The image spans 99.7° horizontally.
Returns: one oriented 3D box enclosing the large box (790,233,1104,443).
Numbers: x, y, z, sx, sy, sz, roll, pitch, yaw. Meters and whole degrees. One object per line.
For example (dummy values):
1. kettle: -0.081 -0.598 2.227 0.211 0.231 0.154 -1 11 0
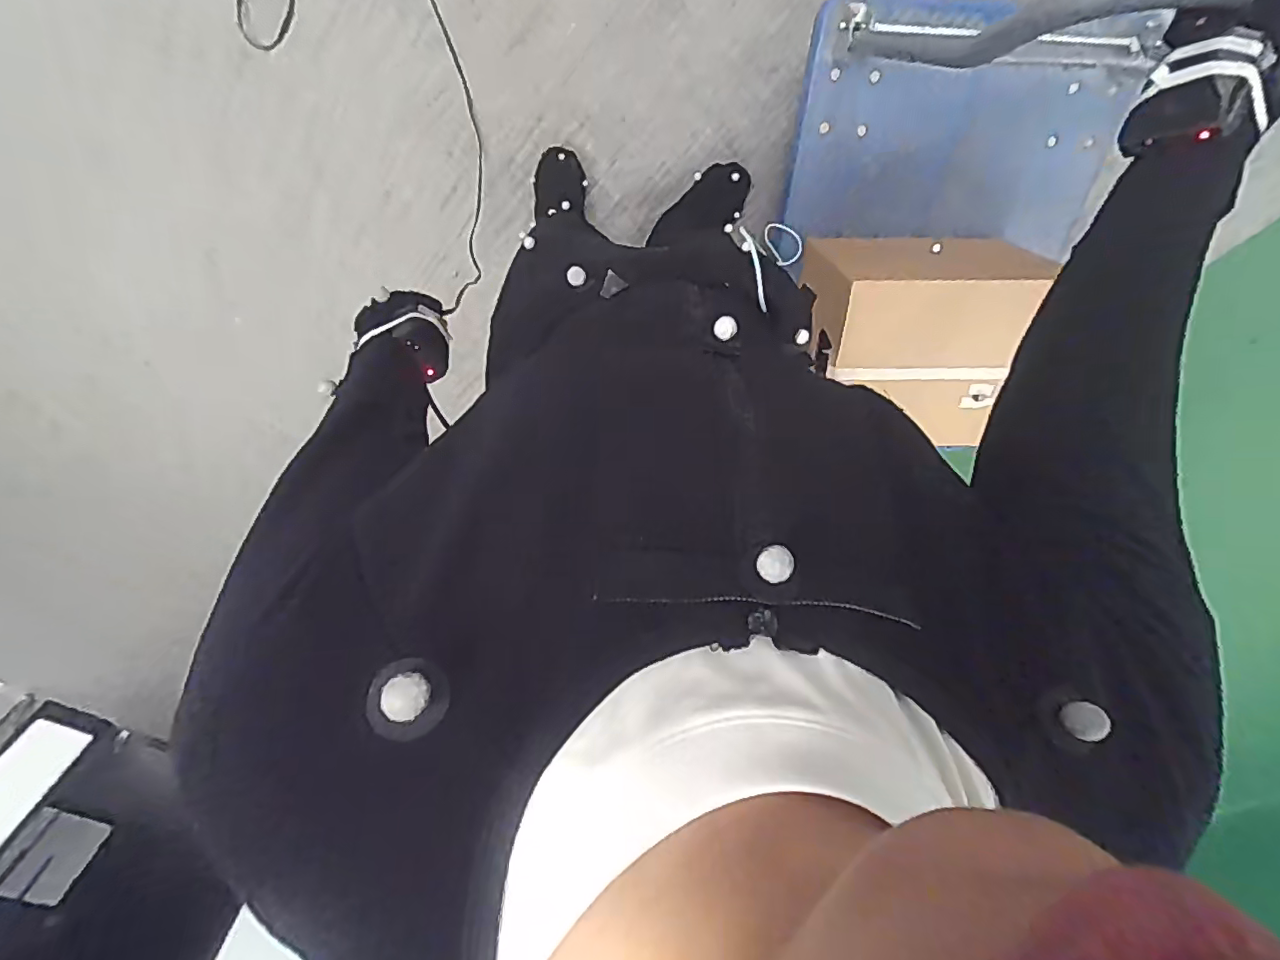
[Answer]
1. large box: 0.540 -0.287 1.062 0.408 0.320 0.320 -1 126 1
